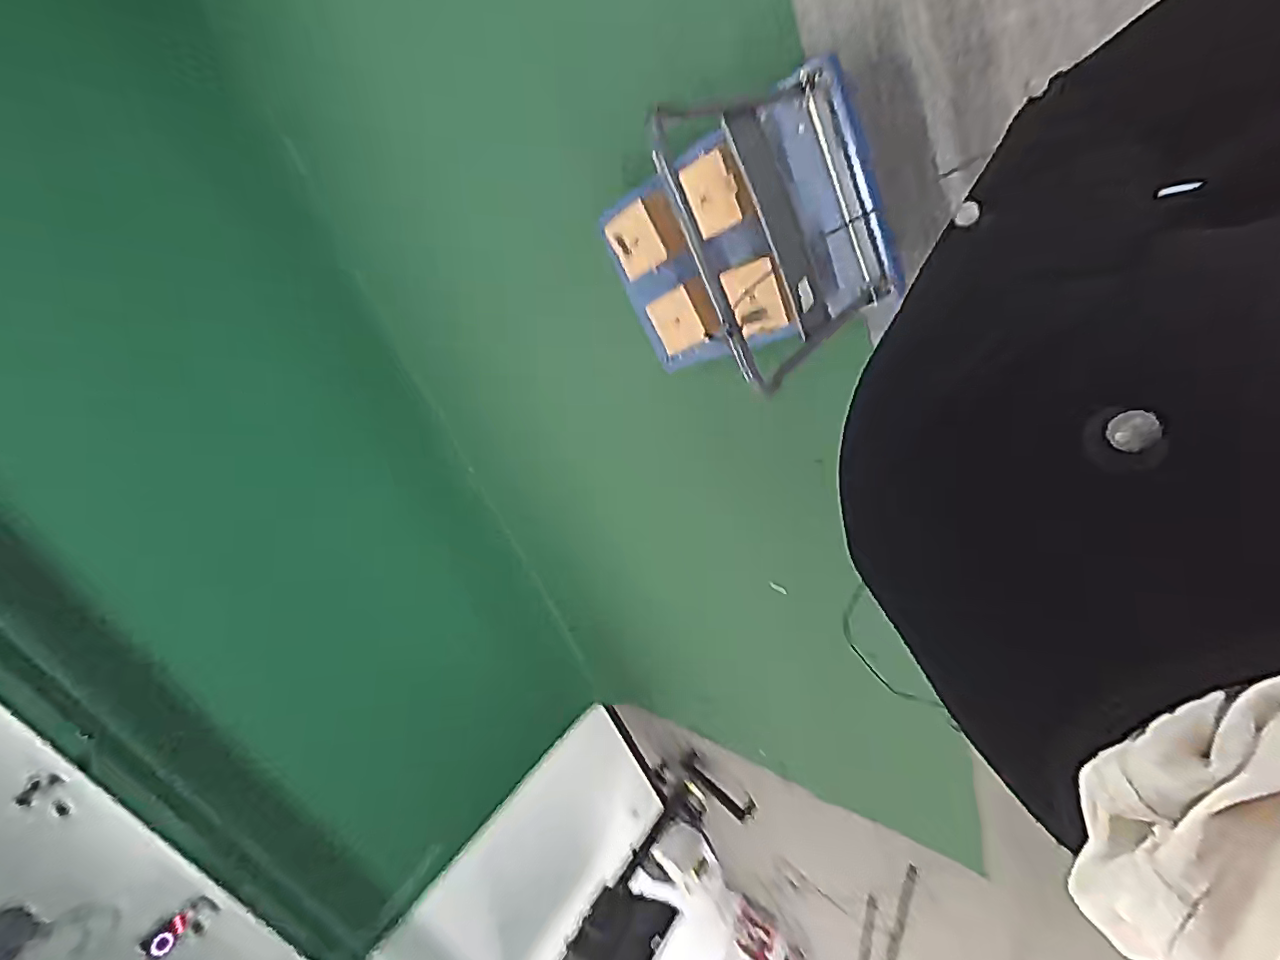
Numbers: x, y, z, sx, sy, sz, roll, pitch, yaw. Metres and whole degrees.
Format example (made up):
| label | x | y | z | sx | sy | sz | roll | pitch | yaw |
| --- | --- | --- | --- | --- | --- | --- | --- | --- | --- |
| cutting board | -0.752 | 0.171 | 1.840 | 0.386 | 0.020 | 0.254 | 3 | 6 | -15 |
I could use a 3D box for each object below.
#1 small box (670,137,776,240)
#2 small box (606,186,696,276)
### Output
| label | x | y | z | sx | sy | sz | roll | pitch | yaw |
| --- | --- | --- | --- | --- | --- | --- | --- | --- | --- |
| small box | 0.216 | -0.748 | 1.389 | 0.179 | 0.176 | 0.168 | -4 | 119 | 49 |
| small box | 0.040 | -0.733 | 1.593 | 0.179 | 0.176 | 0.168 | -10 | 115 | 51 |
